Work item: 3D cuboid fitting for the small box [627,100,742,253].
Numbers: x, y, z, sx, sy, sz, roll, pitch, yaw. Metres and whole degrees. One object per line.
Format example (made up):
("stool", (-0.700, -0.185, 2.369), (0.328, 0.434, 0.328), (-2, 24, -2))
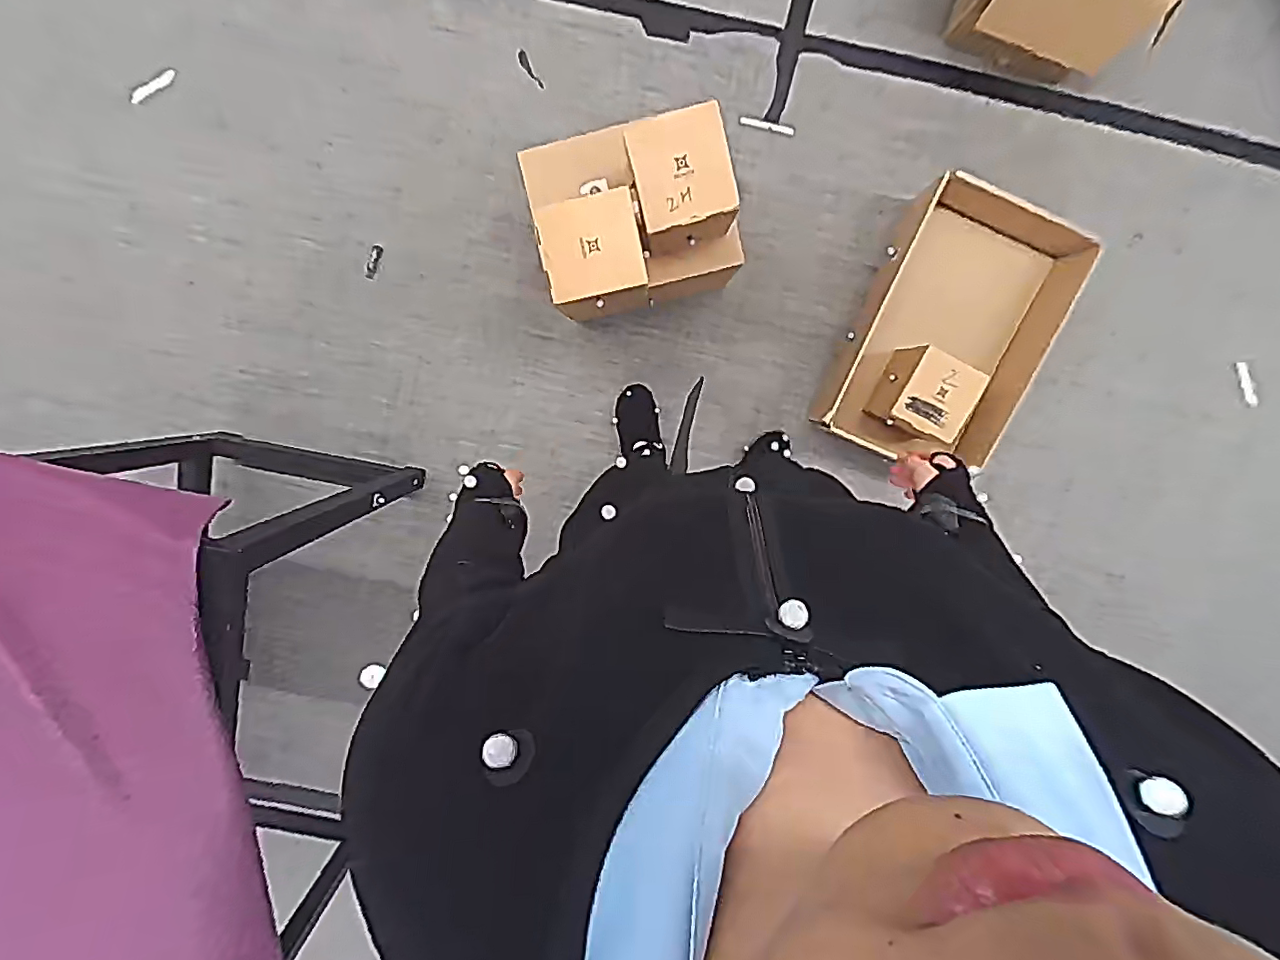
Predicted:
("small box", (0.077, -0.540, 0.987), (0.168, 0.176, 0.179), (-14, 101, 5))

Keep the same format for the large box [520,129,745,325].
("large box", (-0.007, -0.567, 1.235), (0.408, 0.320, 0.320), (-13, 99, 4))
